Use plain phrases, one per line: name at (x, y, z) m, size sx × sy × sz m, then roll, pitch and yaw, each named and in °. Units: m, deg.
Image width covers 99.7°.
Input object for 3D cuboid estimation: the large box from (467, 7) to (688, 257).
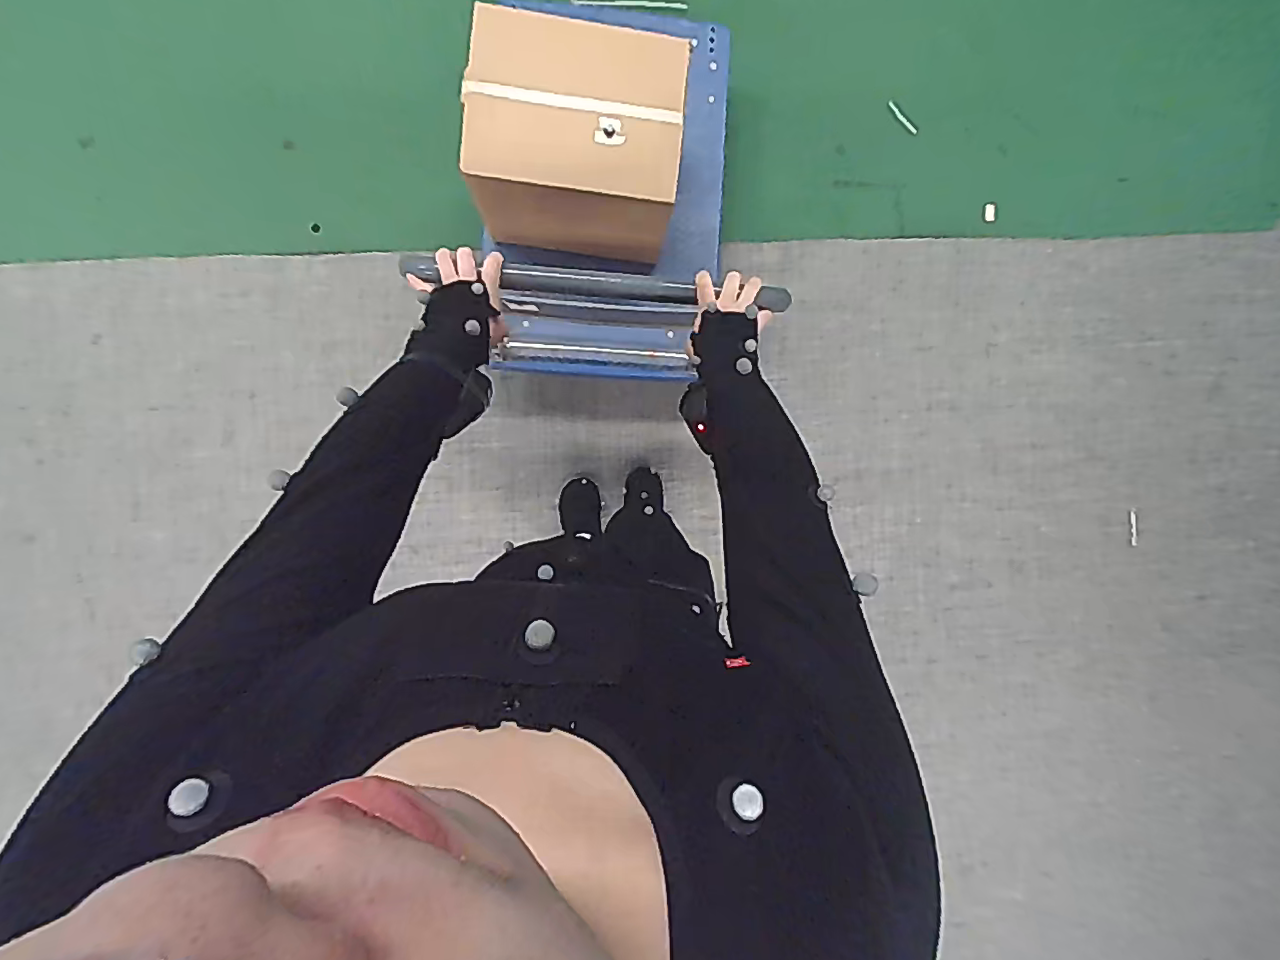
large box at (-0.132, -0.713, 1.170) m, size 0.408 × 0.320 × 0.320 m, roll 6°, pitch 91°, yaw -6°
